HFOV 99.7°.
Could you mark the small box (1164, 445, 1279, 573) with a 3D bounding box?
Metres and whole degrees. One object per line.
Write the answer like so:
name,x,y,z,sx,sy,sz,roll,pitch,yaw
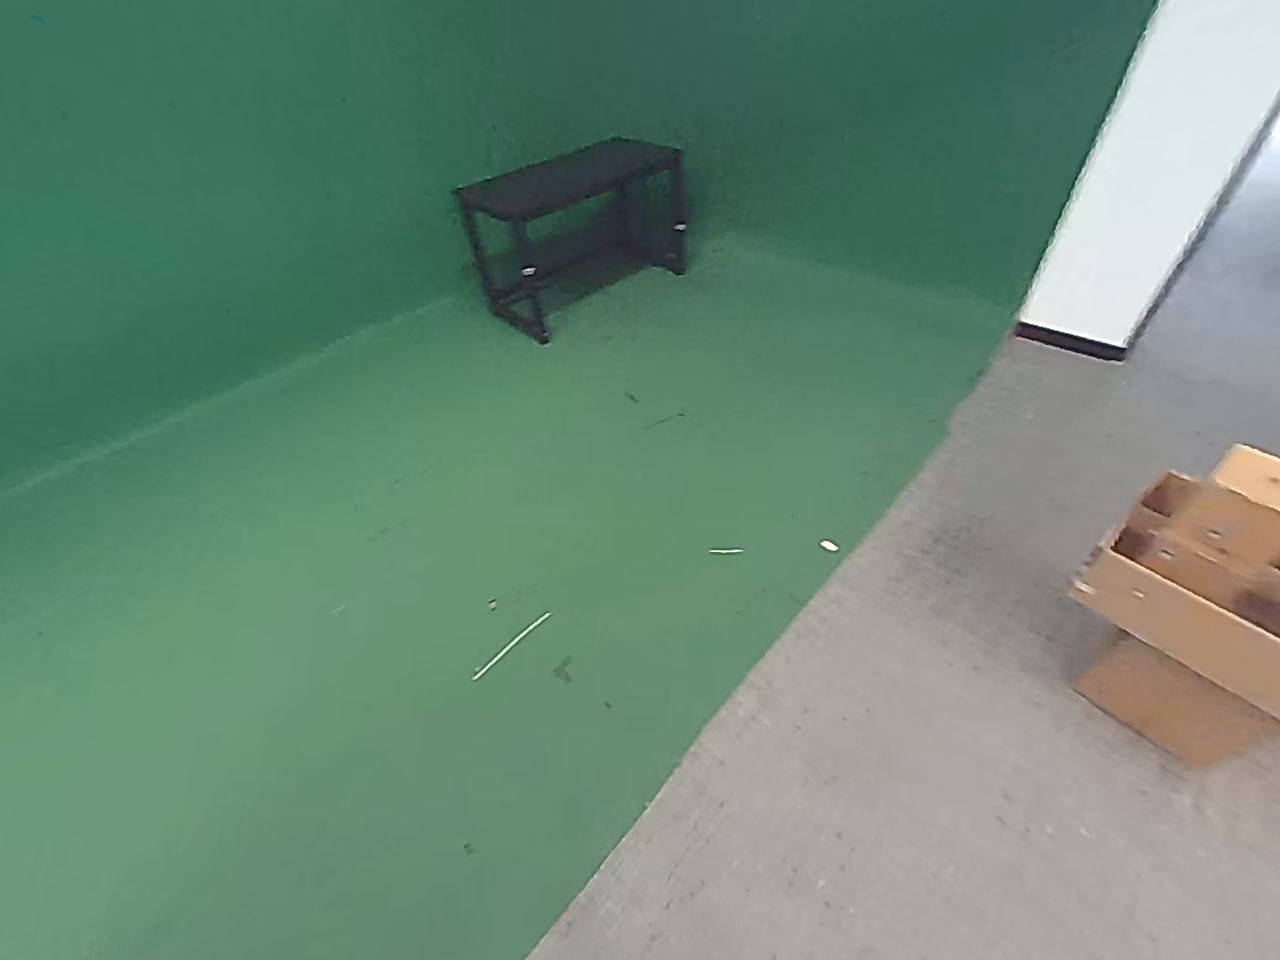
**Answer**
small box,1.296,0.063,1.162,0.179,0.176,0.168,-32,51,-23
